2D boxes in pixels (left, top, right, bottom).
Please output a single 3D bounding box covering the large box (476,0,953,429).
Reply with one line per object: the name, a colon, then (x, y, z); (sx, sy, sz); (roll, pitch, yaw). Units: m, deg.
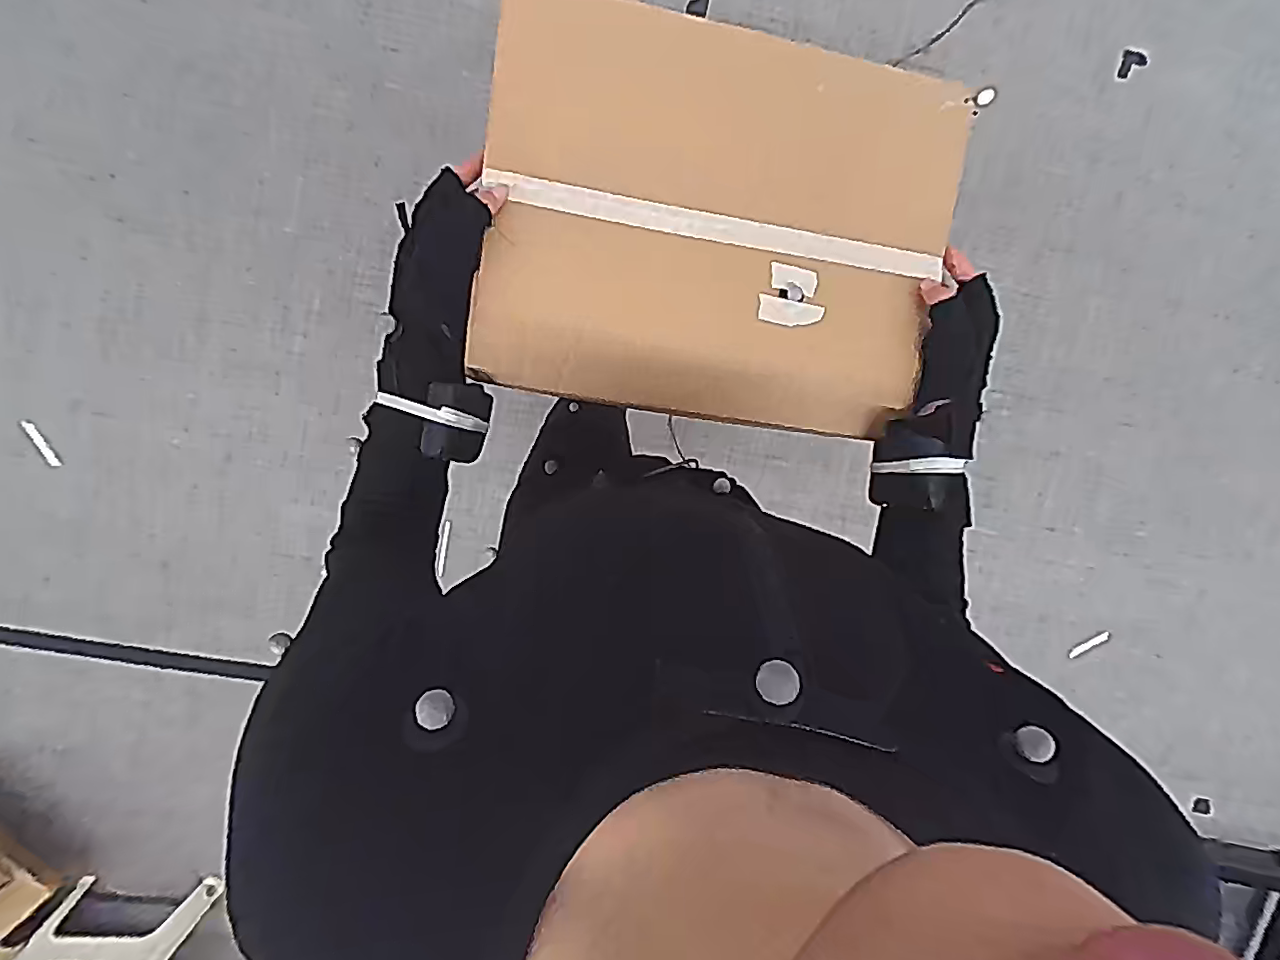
large box: (0.049, -0.240, 0.622); (0.408, 0.320, 0.320); (7, 98, -9)
